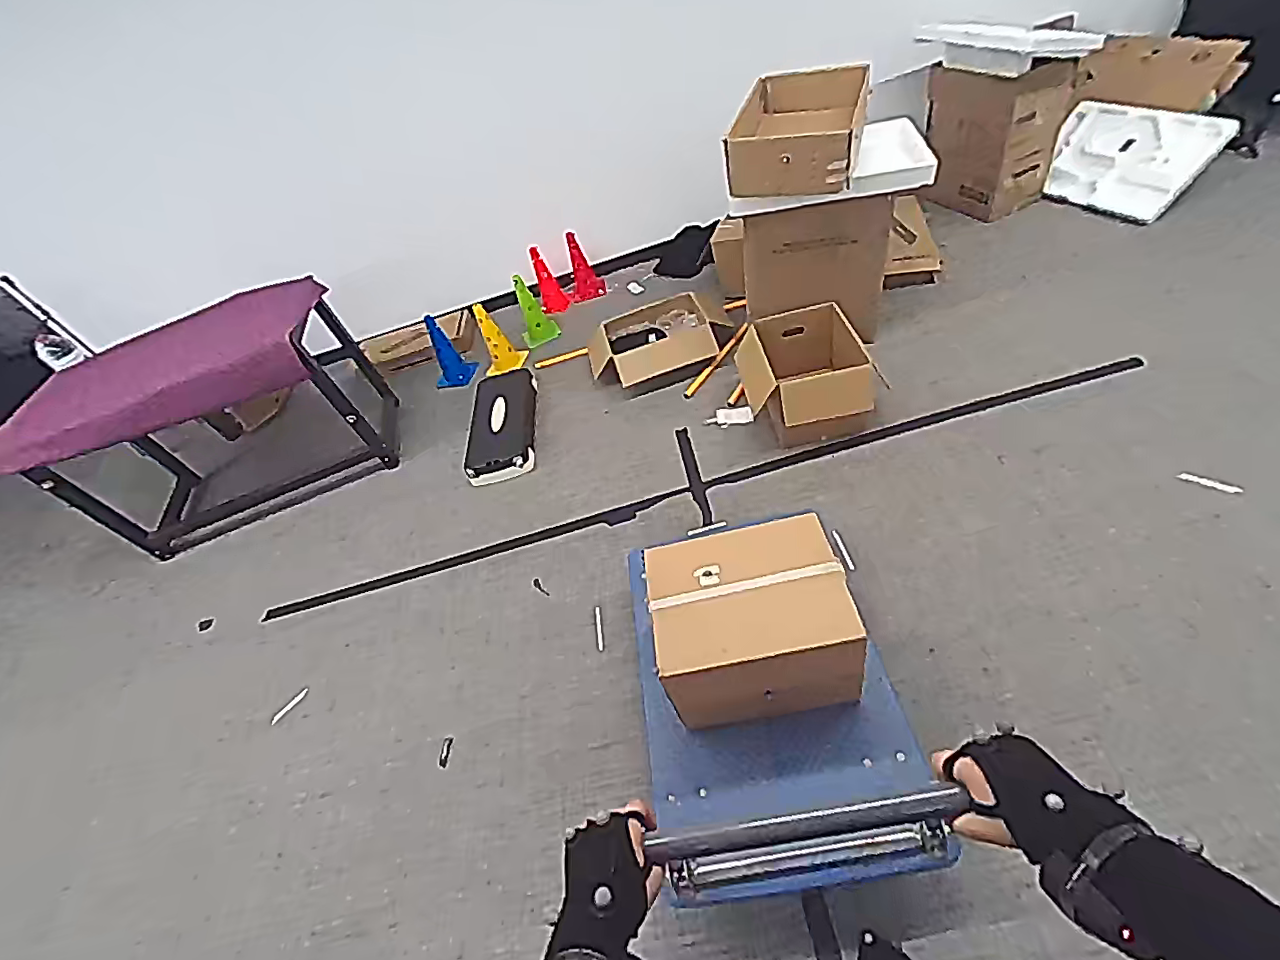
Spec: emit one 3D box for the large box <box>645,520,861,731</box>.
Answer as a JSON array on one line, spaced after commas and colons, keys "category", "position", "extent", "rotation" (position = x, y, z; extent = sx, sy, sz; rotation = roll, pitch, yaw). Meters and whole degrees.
[{"category": "large box", "position": [0.255, 0.345, 1.259], "extent": [0.408, 0.320, 0.320], "rotation": [-14, 44, 7]}]
